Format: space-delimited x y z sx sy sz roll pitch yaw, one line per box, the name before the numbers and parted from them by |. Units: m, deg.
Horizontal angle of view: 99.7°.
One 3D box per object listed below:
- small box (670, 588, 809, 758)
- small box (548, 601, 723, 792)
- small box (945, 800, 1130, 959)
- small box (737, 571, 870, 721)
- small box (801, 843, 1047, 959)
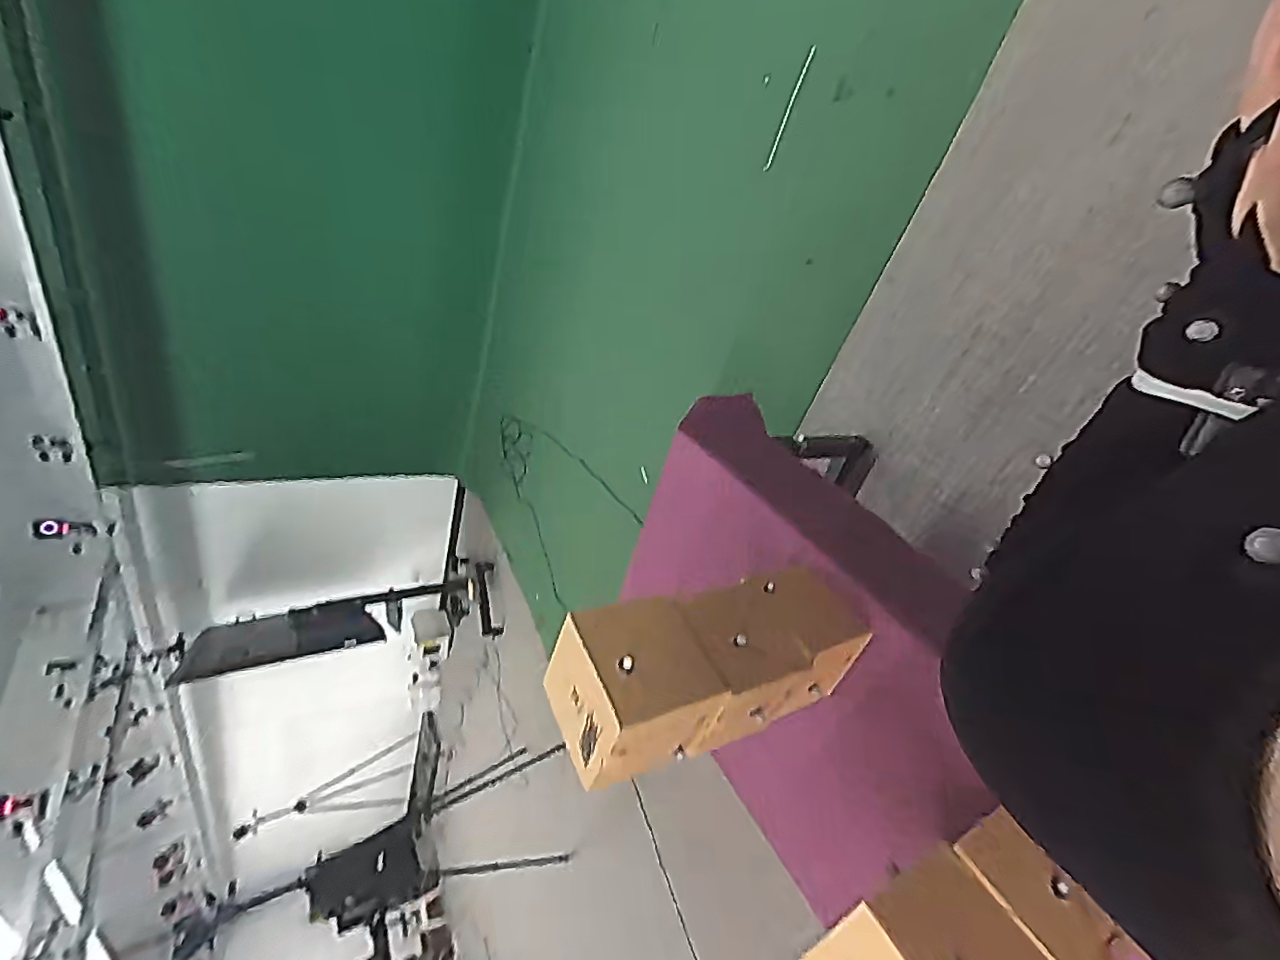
small box | 0.130 0.293 0.855 0.179 0.176 0.168 53 134 39
small box | -0.010 0.295 0.769 0.179 0.176 0.168 55 135 40
small box | 0.460 0.546 0.680 0.168 0.176 0.179 51 133 41
small box | 0.263 0.280 0.951 0.179 0.176 0.168 50 132 42
small box | 0.322 0.551 0.593 0.179 0.176 0.168 50 131 42
